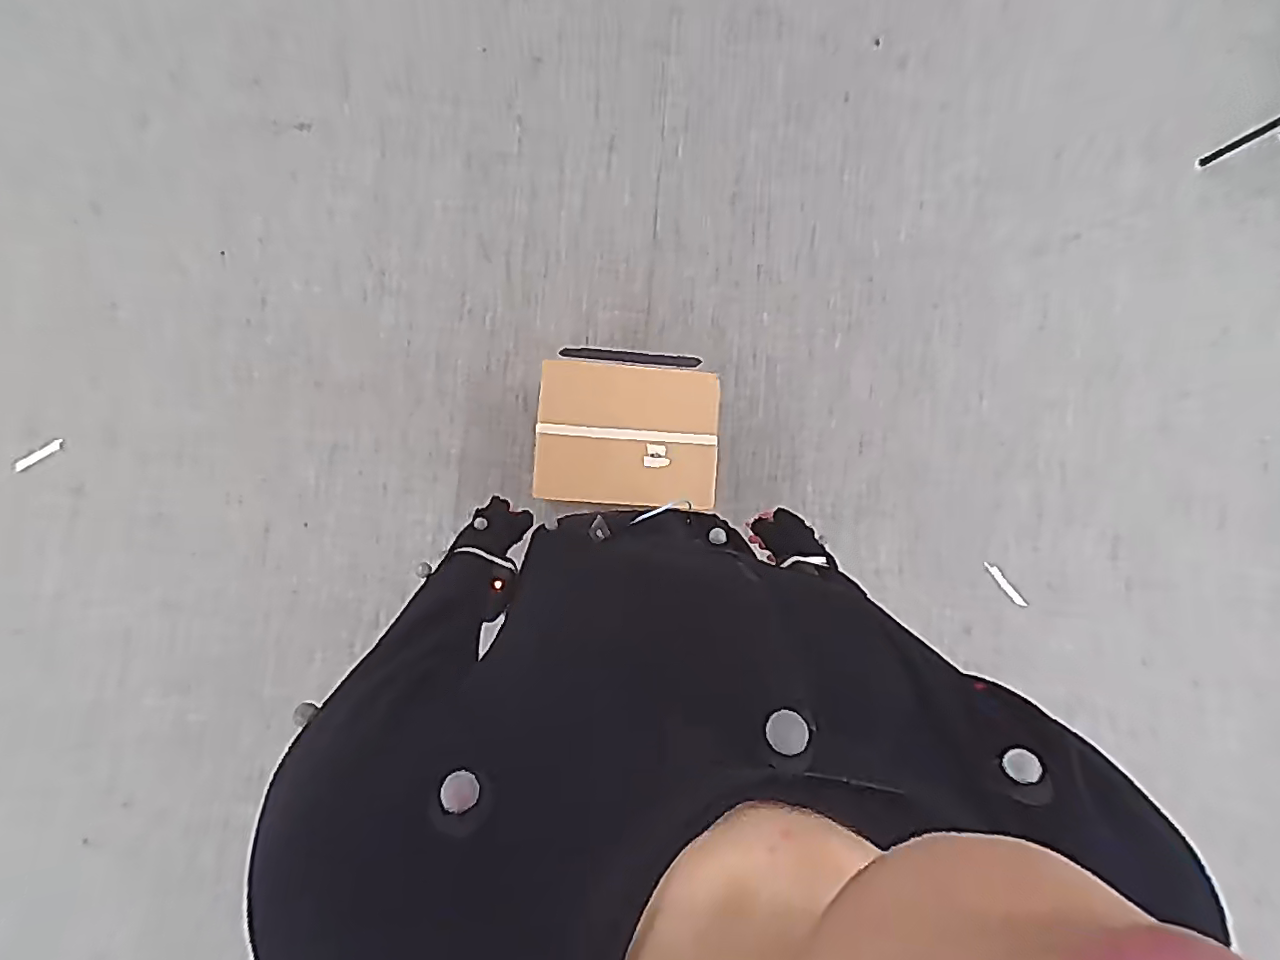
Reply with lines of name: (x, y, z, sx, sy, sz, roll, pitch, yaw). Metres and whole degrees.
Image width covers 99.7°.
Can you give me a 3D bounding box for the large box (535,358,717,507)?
large box: (-0.041, -0.099, 1.362, 0.408, 0.320, 0.320, 4, 86, -4)
